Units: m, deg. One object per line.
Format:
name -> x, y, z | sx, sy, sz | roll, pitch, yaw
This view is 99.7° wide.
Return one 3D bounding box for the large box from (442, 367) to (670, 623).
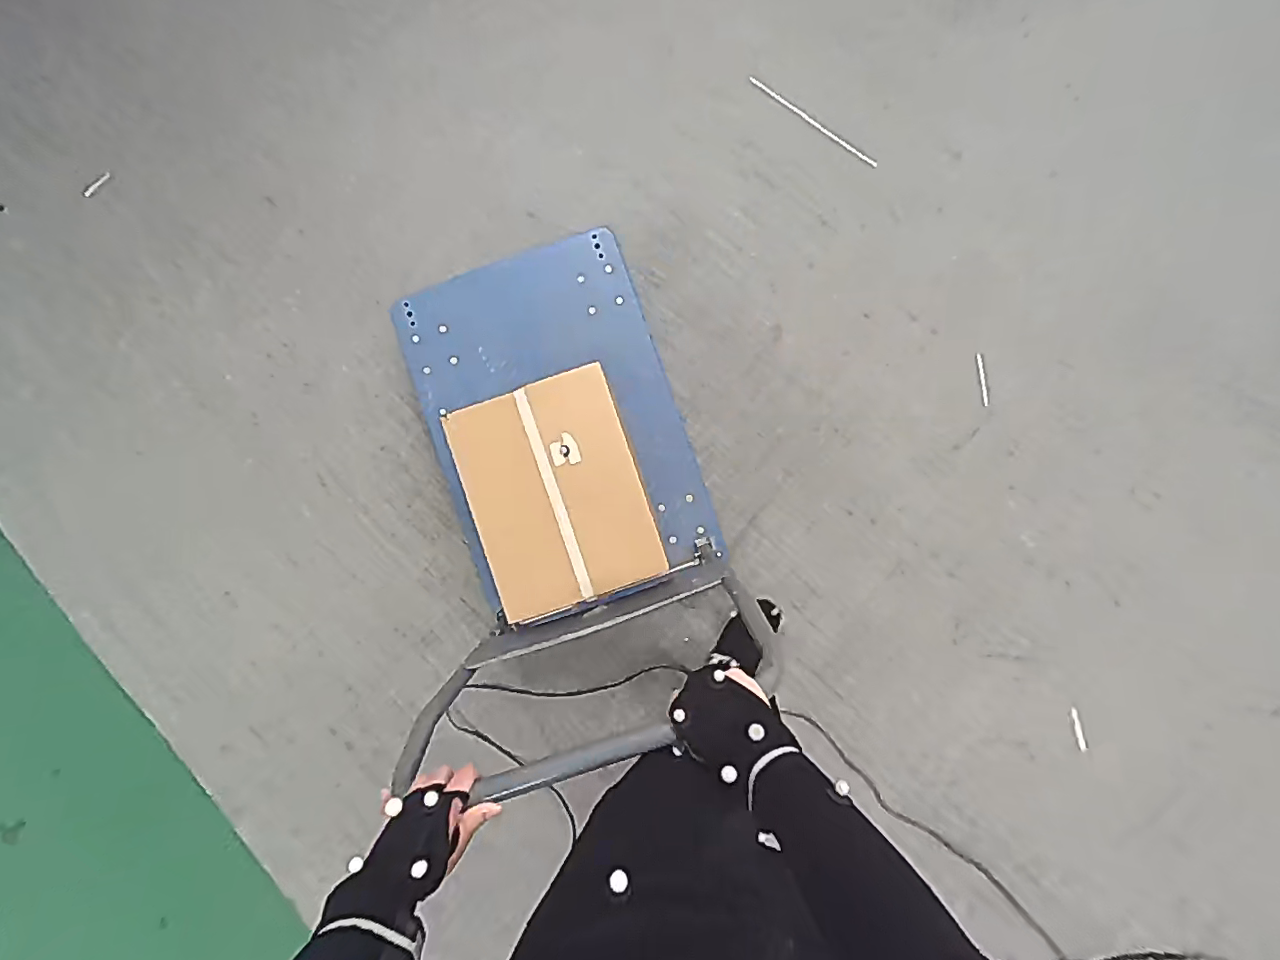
large box -> -0.149, 0.032, 1.137 | 0.320, 0.320, 0.408 | -20, 88, 1
